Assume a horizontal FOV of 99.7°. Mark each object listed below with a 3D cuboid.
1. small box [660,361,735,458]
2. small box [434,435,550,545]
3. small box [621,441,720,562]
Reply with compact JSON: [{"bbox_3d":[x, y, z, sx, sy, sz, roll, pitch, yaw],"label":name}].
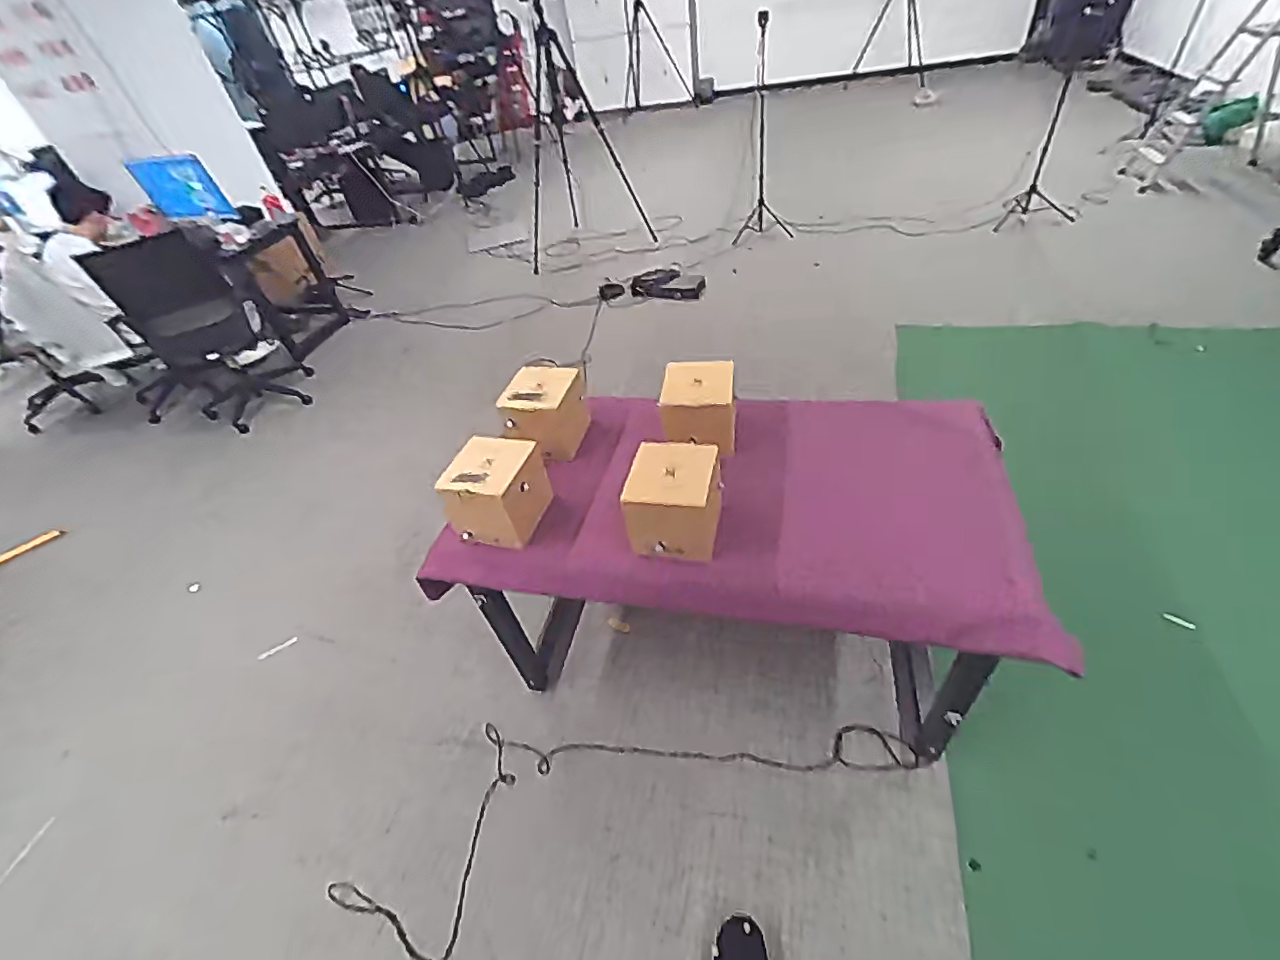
[{"bbox_3d":[0.147,-0.174,1.326,0.168,0.176,0.179,1,46,12],"label":"small box"},{"bbox_3d":[-0.317,0.024,1.204,0.168,0.176,0.179,6,44,17],"label":"small box"},{"bbox_3d":[0.072,0.042,1.113,0.168,0.176,0.179,4,45,16],"label":"small box"}]
